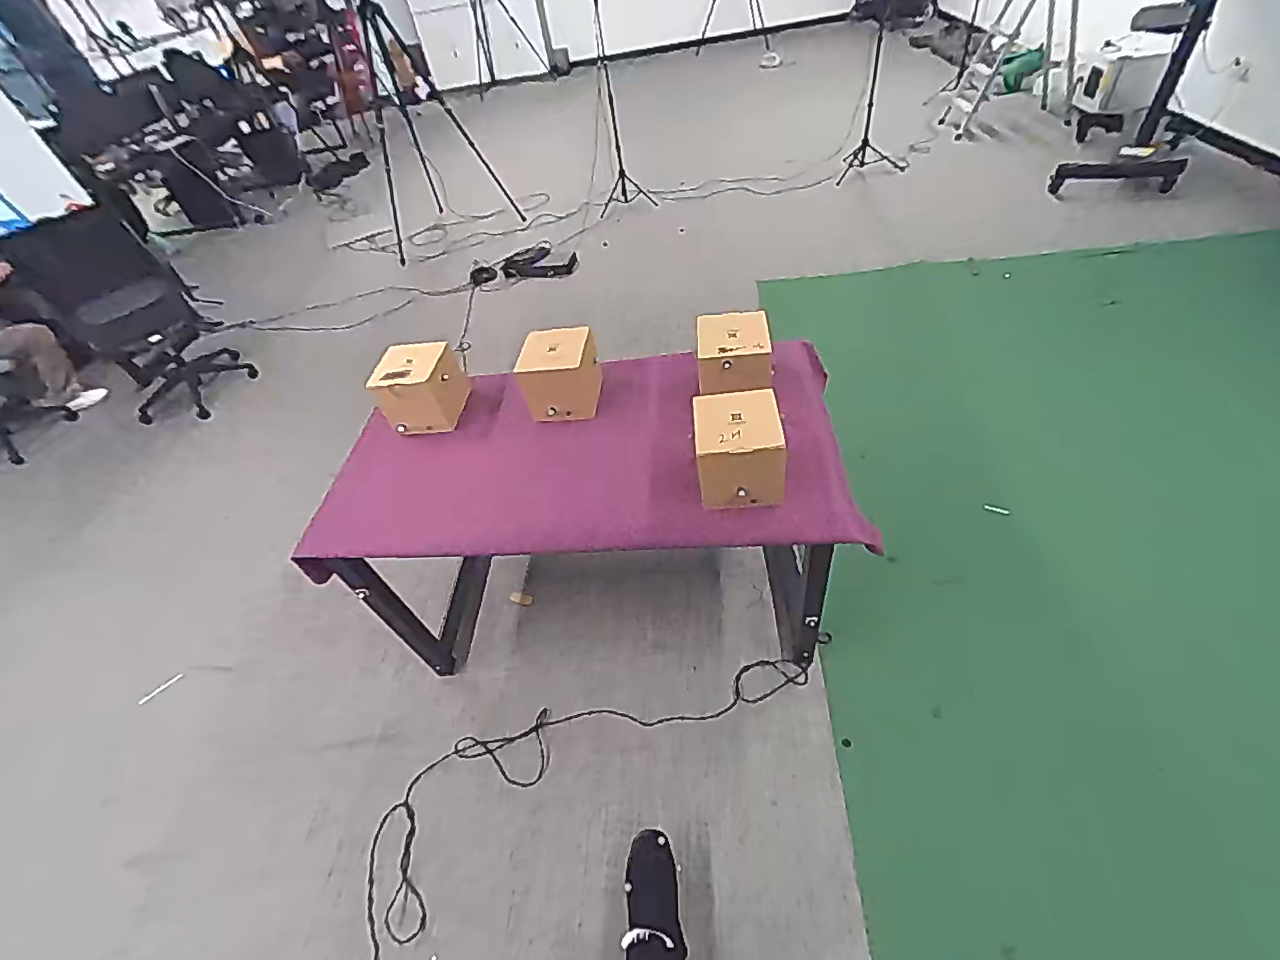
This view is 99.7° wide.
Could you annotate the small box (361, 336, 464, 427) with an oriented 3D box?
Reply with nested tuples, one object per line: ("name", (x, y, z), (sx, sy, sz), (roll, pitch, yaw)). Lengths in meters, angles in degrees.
("small box", (-0.582, -0.250, 1.410), (0.168, 0.176, 0.179), (-1, 49, 7))

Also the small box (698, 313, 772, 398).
("small box", (0.225, -0.281, 1.307), (0.168, 0.176, 0.179), (-2, 48, 8))

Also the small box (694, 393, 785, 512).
("small box", (0.197, -0.054, 1.104), (0.168, 0.176, 0.179), (-4, 48, 8))

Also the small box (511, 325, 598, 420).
("small box", (-0.207, -0.272, 1.373), (0.168, 0.176, 0.179), (-1, 49, 9))
